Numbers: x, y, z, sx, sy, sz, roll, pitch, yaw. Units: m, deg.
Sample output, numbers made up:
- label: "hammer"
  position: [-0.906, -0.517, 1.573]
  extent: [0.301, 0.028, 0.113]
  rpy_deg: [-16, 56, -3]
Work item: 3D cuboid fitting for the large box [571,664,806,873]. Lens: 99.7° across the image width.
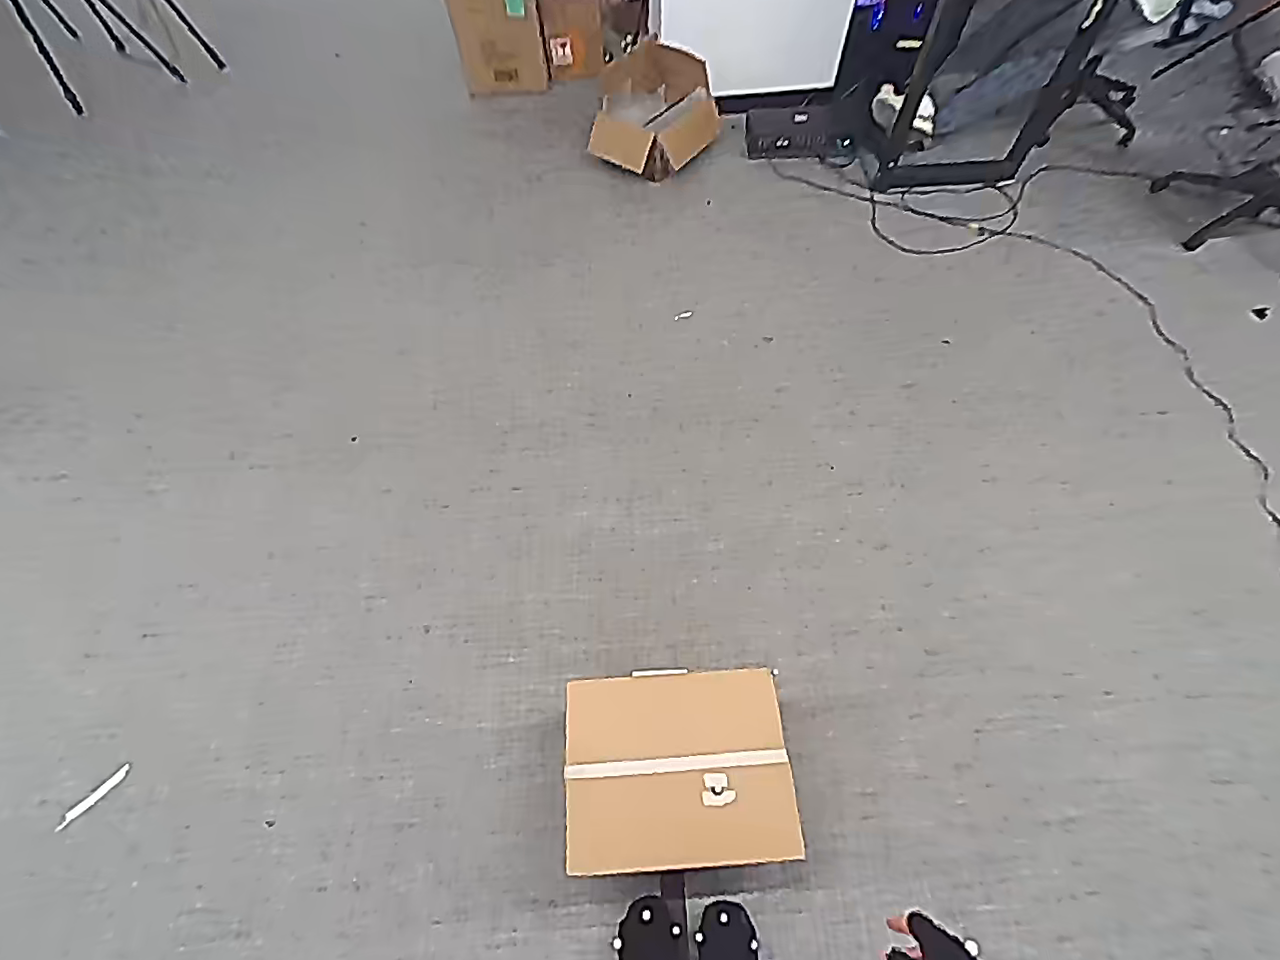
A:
- label: "large box"
  position: [0.074, 0.585, 1.114]
  extent: [0.408, 0.320, 0.320]
  rpy_deg: [-4, 61, -2]
